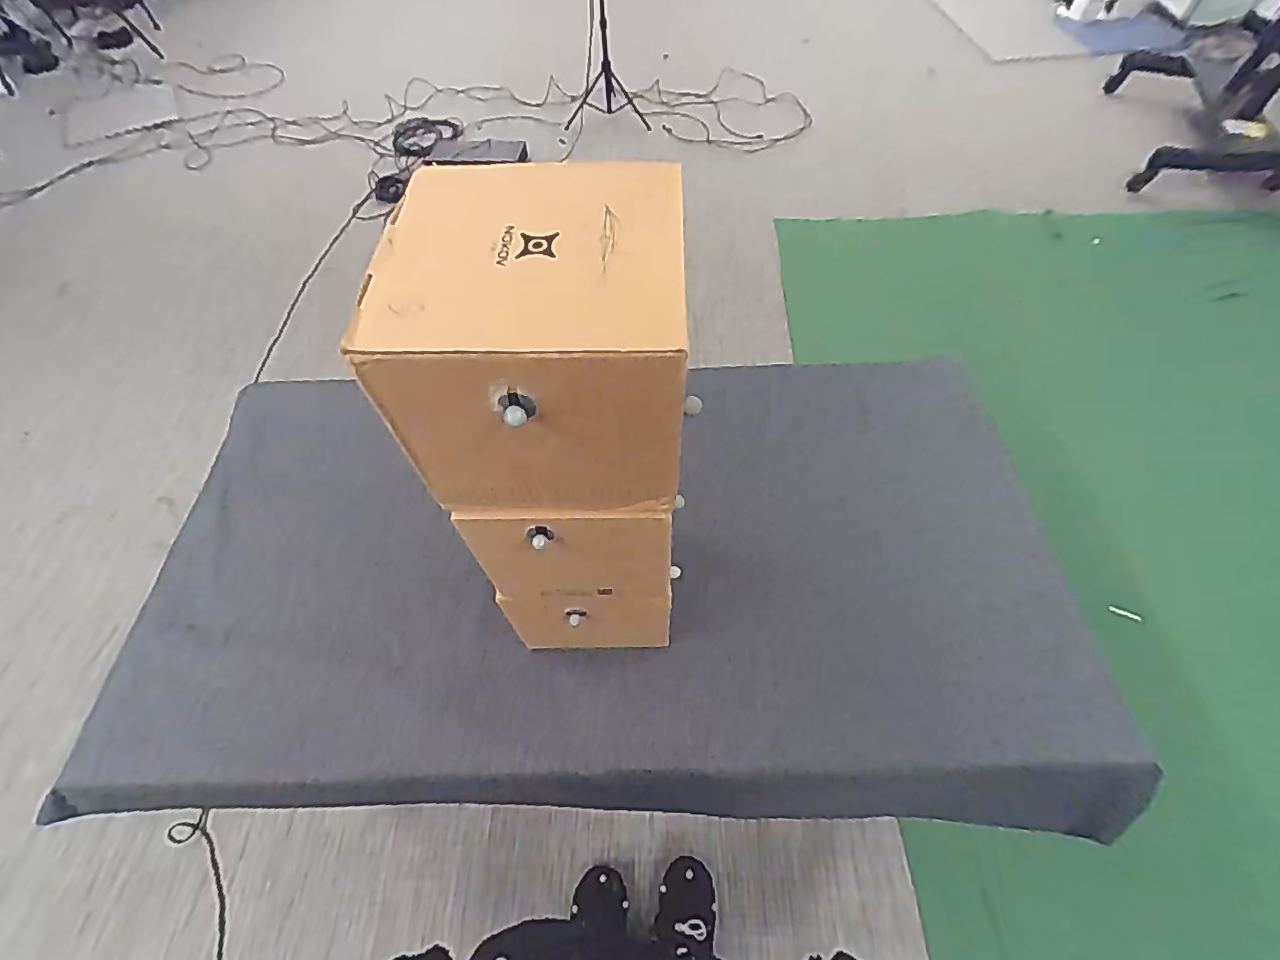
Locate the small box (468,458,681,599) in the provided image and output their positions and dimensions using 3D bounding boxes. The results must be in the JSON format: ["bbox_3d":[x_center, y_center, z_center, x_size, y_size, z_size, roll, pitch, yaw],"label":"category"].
[{"bbox_3d":[-0.052,0.001,0.523,0.168,0.176,0.179,-2,57,0],"label":"small box"}]

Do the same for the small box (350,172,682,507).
[{"bbox_3d":[-0.060,-0.090,0.385,0.179,0.176,0.168,0,59,1],"label":"small box"}]

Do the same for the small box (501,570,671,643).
[{"bbox_3d":[-0.052,0.093,0.655,0.179,0.176,0.168,-1,57,1],"label":"small box"}]
